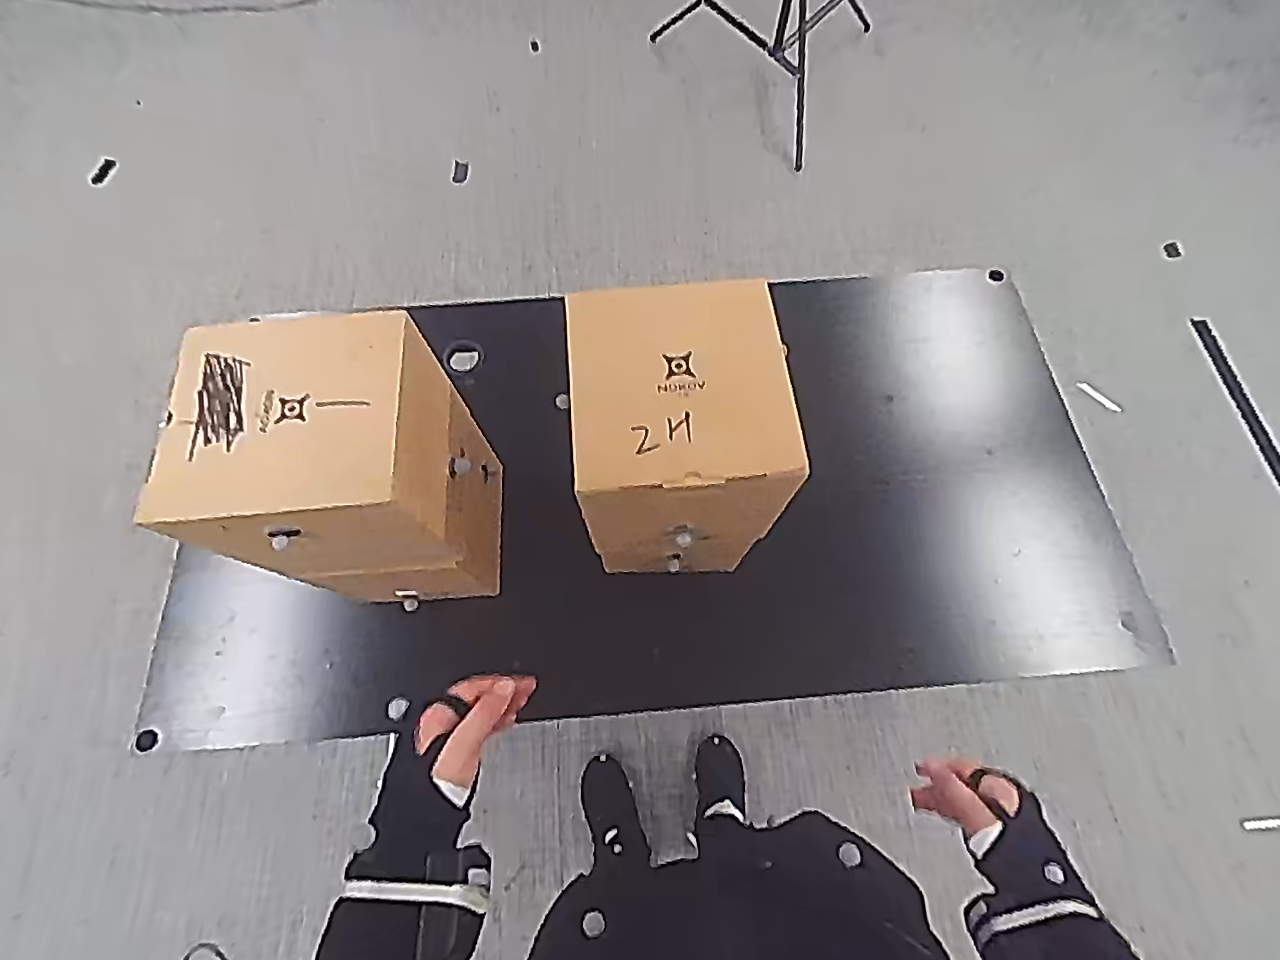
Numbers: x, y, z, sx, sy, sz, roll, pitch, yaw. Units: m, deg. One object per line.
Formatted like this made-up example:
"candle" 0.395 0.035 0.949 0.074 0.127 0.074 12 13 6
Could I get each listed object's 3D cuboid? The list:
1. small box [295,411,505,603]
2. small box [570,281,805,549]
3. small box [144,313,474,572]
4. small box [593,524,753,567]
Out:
"small box" -0.260 0.038 0.630 0.168 0.176 0.179 -5 69 0
"small box" 0.030 -0.048 0.484 0.168 0.176 0.179 -5 68 -1
"small box" -0.261 -0.021 0.477 0.179 0.176 0.168 -5 68 -2
"small box" 0.036 0.004 0.641 0.168 0.176 0.179 -1 69 0
